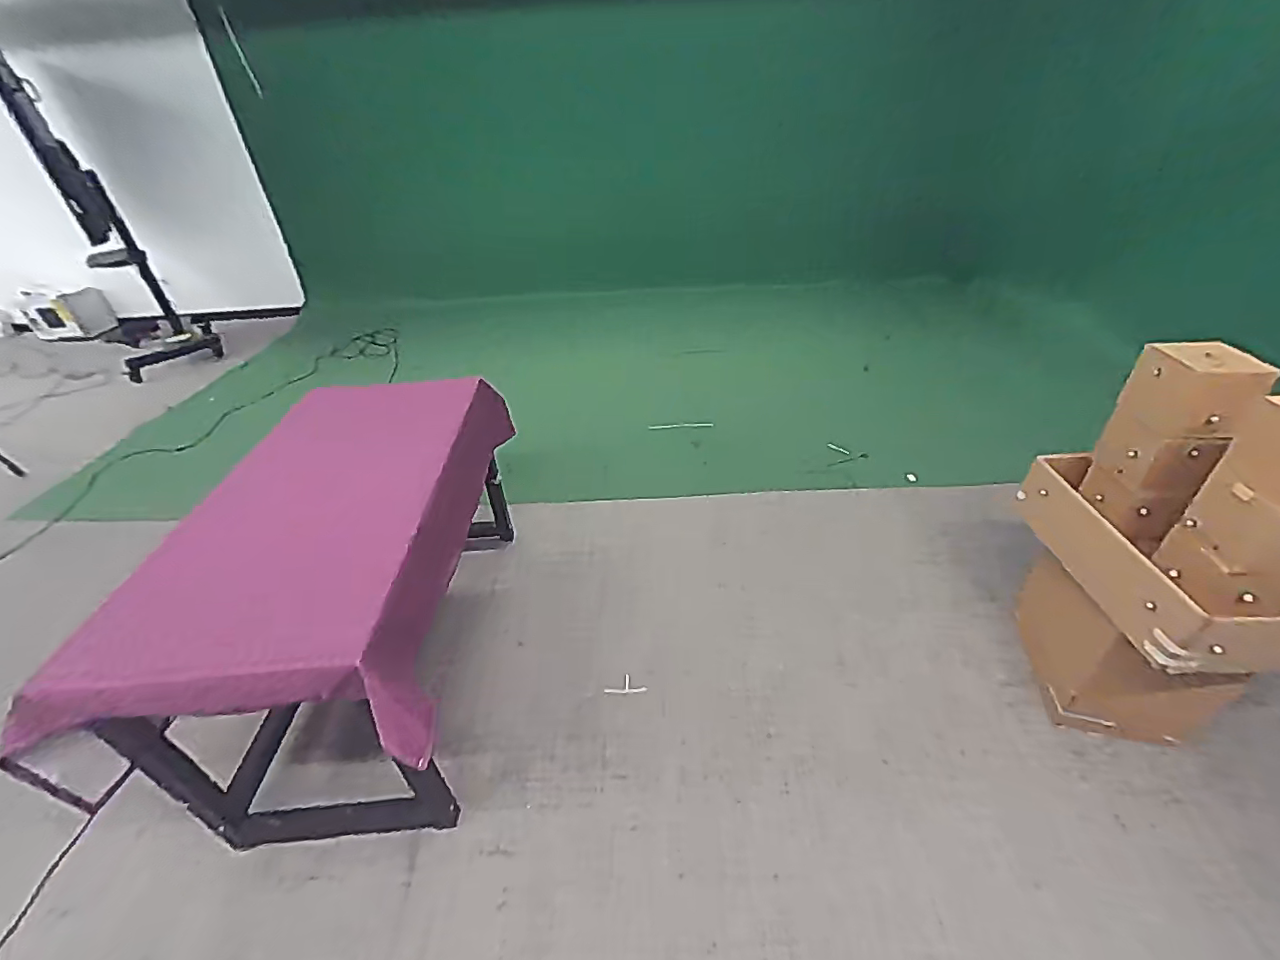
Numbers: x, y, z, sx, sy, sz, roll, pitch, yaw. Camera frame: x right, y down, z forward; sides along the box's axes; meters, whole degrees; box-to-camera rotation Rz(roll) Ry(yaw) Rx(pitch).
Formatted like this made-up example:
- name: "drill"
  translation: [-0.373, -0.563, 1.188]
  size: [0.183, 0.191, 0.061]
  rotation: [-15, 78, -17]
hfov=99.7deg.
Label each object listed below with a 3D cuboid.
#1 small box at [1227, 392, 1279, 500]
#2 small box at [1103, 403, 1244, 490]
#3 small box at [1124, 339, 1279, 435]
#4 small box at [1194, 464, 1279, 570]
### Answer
- name: "small box"
  translation: [1.326, -0.058, 1.046]
  size: [0.168, 0.176, 0.179]
  rotation: [-1, 36, 5]
- name: "small box"
  translation: [1.329, -0.086, 1.370]
  size: [0.179, 0.176, 0.168]
  rotation: [-2, 36, 4]
- name: "small box"
  translation: [1.310, -0.221, 1.276]
  size: [0.168, 0.176, 0.179]
  rotation: [-1, 36, 7]
- name: "small box"
  translation: [1.334, 0.078, 1.135]
  size: [0.179, 0.176, 0.168]
  rotation: [0, 35, 5]
